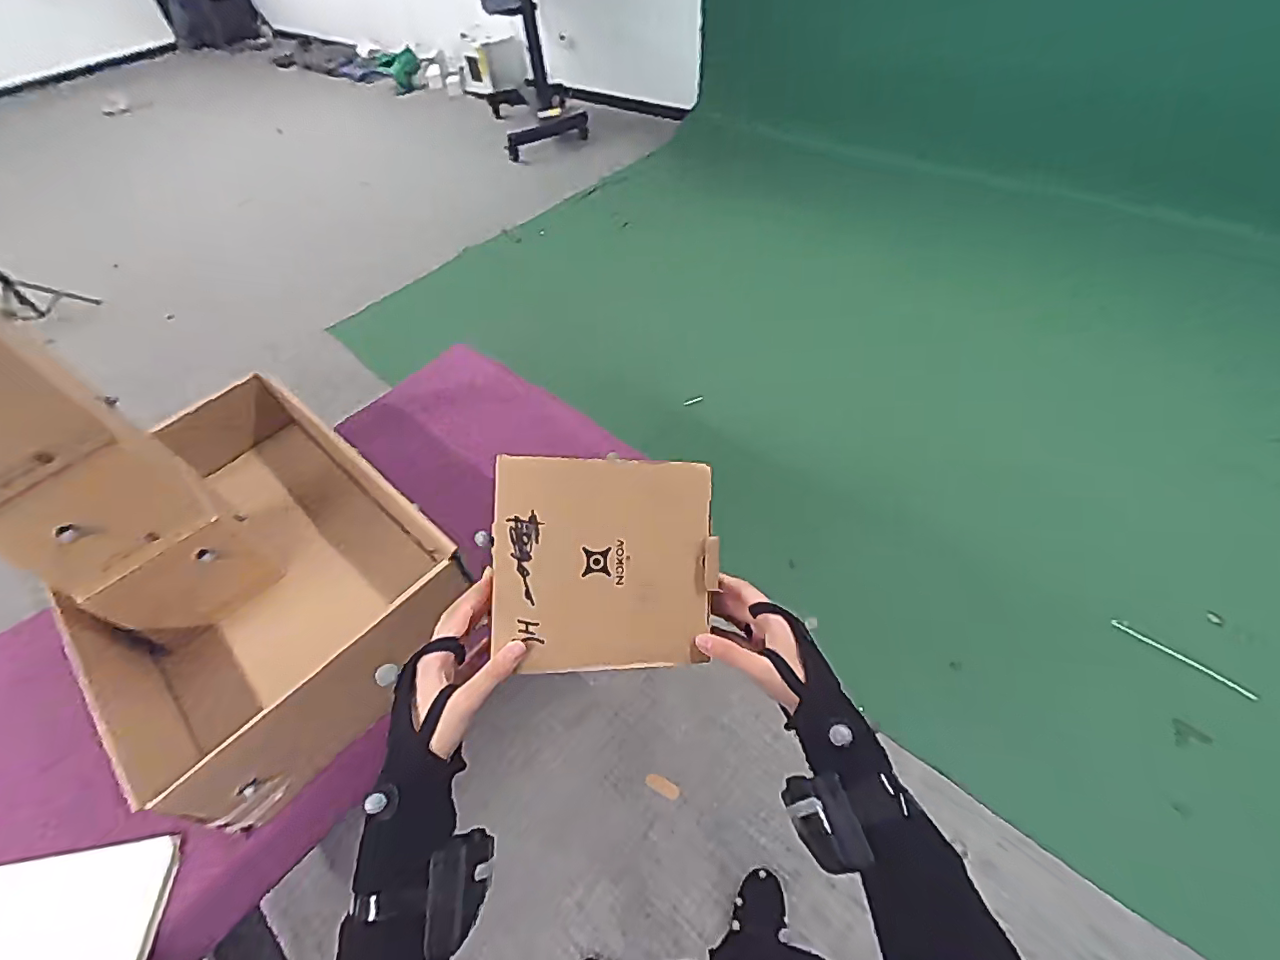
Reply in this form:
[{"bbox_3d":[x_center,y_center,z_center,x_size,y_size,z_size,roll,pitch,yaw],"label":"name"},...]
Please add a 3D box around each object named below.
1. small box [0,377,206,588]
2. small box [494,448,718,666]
[{"bbox_3d":[-0.700,0.010,0.675,0.179,0.176,0.168,36,62,27],"label":"small box"},{"bbox_3d":[-0.041,0.066,0.502,0.179,0.176,0.168,2,85,-14],"label":"small box"}]
